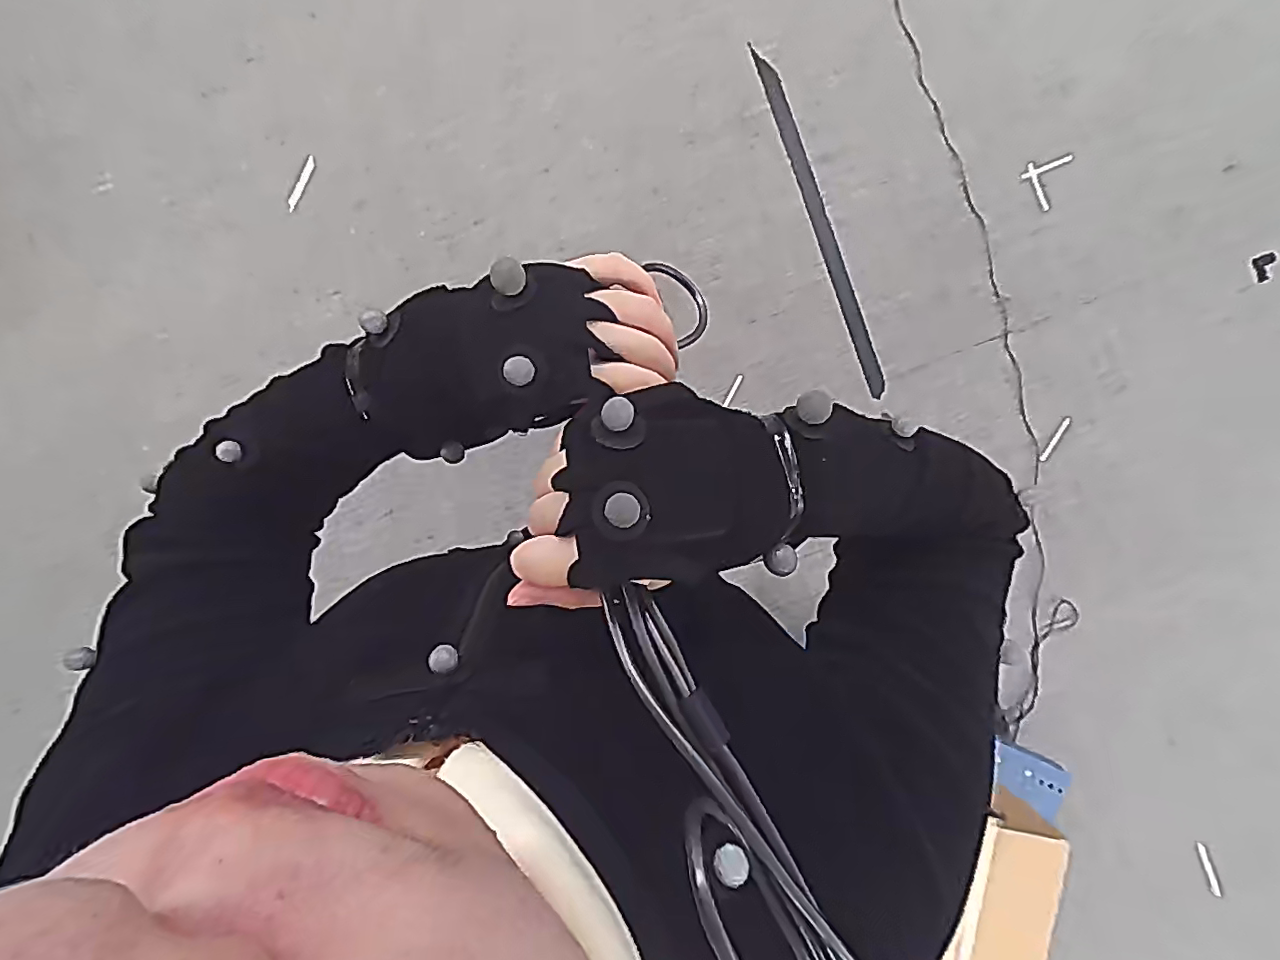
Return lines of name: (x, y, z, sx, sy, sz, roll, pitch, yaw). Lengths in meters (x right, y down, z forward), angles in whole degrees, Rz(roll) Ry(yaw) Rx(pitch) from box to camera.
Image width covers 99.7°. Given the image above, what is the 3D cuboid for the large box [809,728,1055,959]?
large box: (0.598, 0.823, 1.174, 0.320, 0.320, 0.408, 13, 91, 0)
